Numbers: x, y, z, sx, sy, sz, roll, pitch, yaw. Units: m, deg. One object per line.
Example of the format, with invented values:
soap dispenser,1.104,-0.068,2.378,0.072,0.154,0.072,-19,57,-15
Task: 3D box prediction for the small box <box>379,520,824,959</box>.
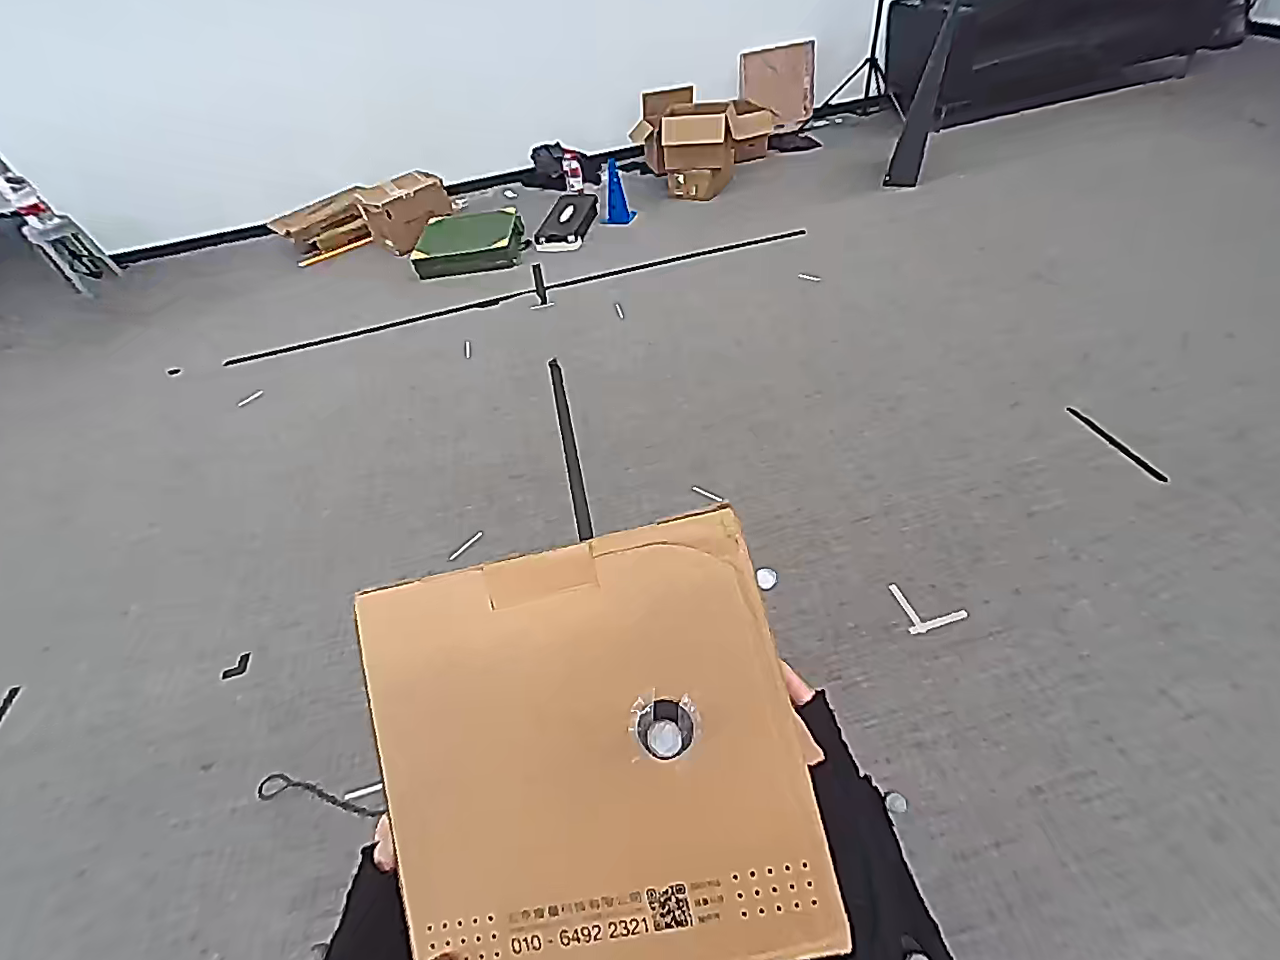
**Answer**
small box,-0.009,0.125,0.307,0.168,0.179,0.176,-14,83,7
